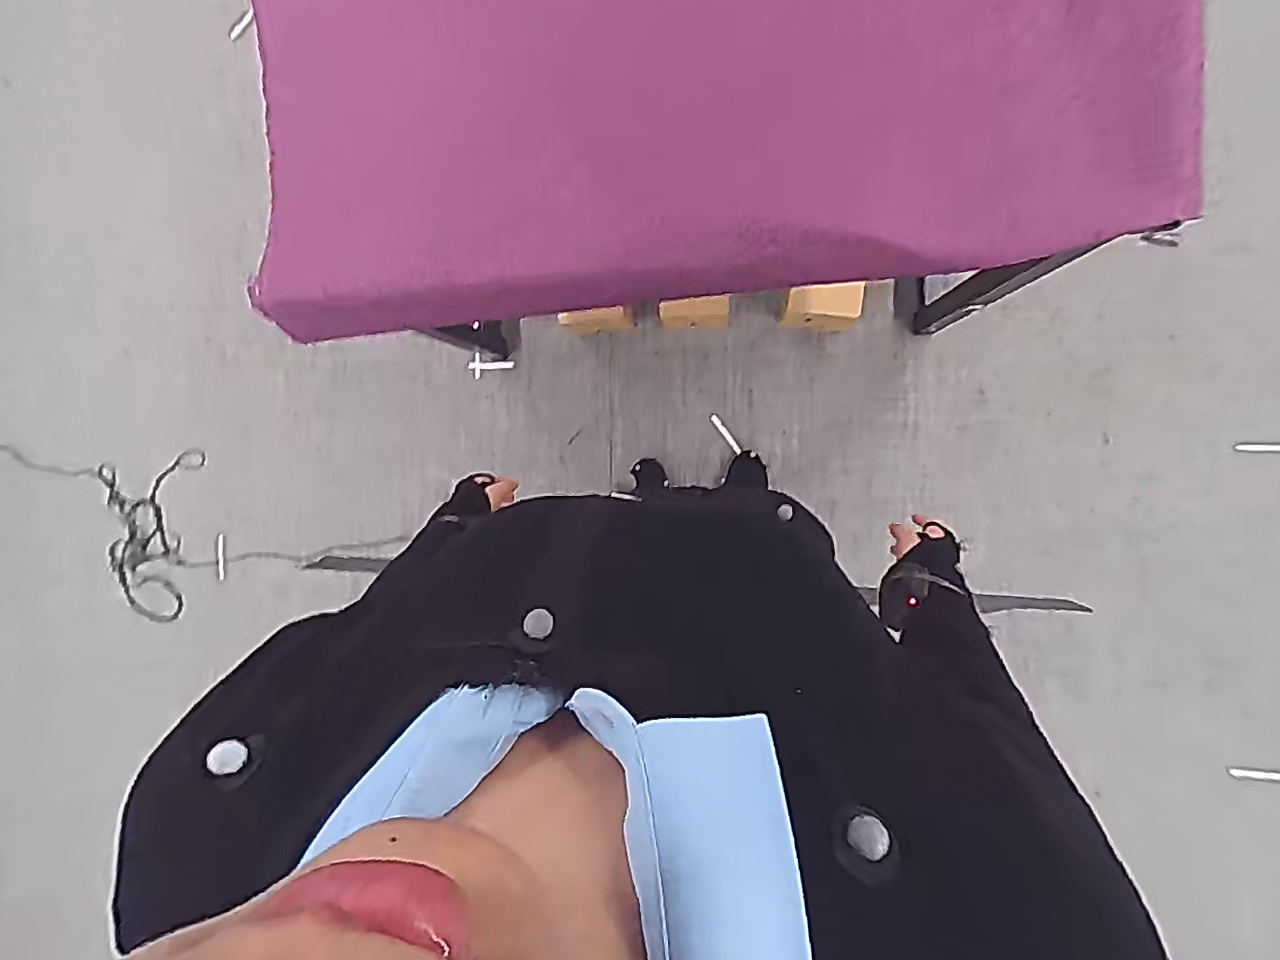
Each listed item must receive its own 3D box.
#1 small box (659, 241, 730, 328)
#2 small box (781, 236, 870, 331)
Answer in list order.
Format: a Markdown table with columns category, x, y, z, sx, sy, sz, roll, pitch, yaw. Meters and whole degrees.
| category | x | y | z | sx | sy | sz | roll | pitch | yaw |
| --- | --- | --- | --- | --- | --- | --- | --- | --- | --- |
| small box | 0.141 | -0.486 | 1.369 | 0.168 | 0.176 | 0.179 | 2 | 94 | 8 |
| small box | 0.446 | -0.475 | 1.328 | 0.168 | 0.176 | 0.179 | 9 | 94 | 8 |
